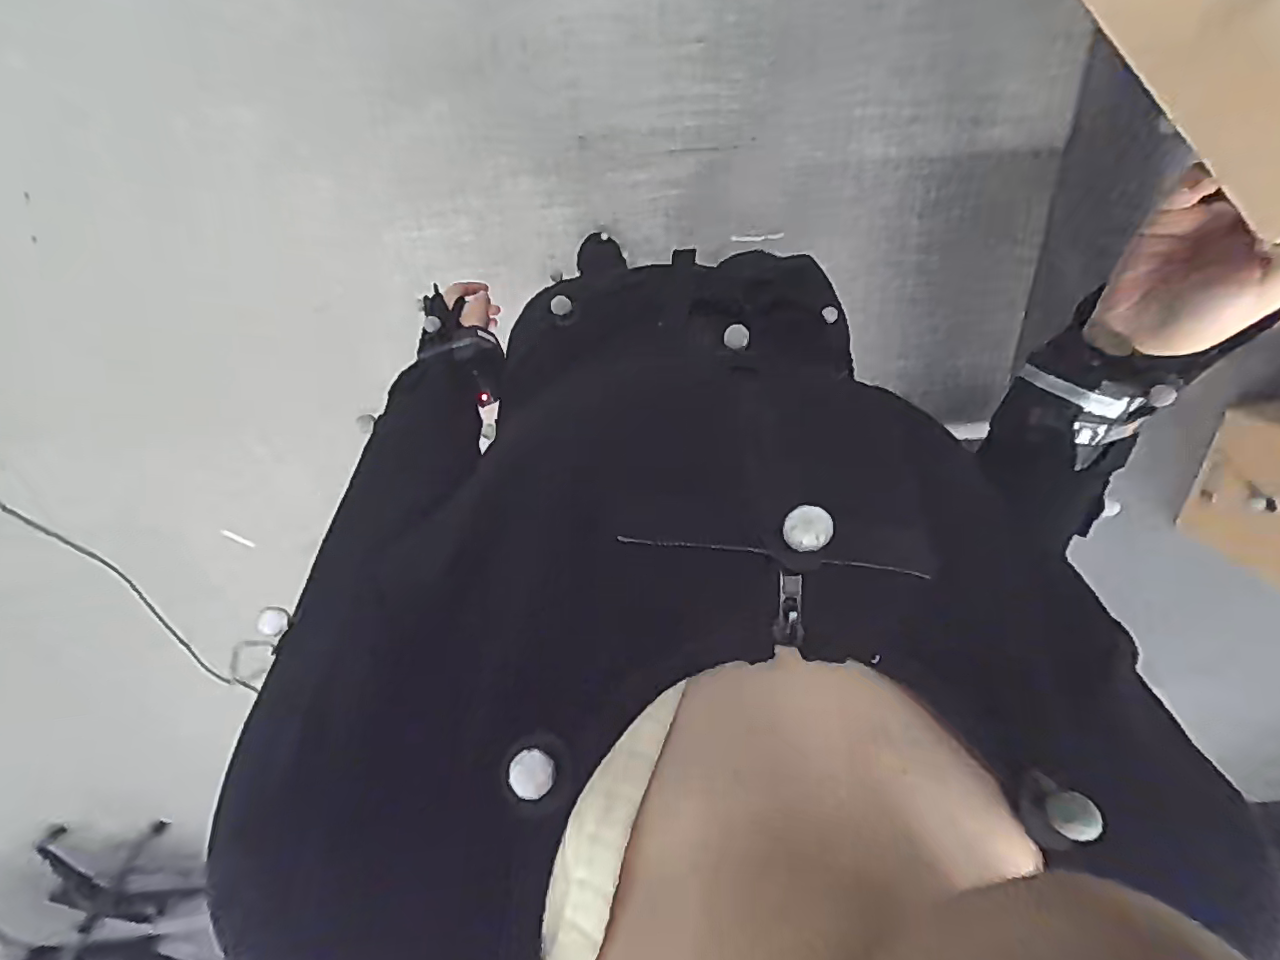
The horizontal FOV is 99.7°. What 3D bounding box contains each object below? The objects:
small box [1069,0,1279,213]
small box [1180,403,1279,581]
[{"bbox_3d":[0.252,-0.215,0.162,0.176,0.168,0.179,61,146,9],"label":"small box"},{"bbox_3d":[0.755,0.018,0.576,0.179,0.176,0.168,-5,118,1],"label":"small box"}]
